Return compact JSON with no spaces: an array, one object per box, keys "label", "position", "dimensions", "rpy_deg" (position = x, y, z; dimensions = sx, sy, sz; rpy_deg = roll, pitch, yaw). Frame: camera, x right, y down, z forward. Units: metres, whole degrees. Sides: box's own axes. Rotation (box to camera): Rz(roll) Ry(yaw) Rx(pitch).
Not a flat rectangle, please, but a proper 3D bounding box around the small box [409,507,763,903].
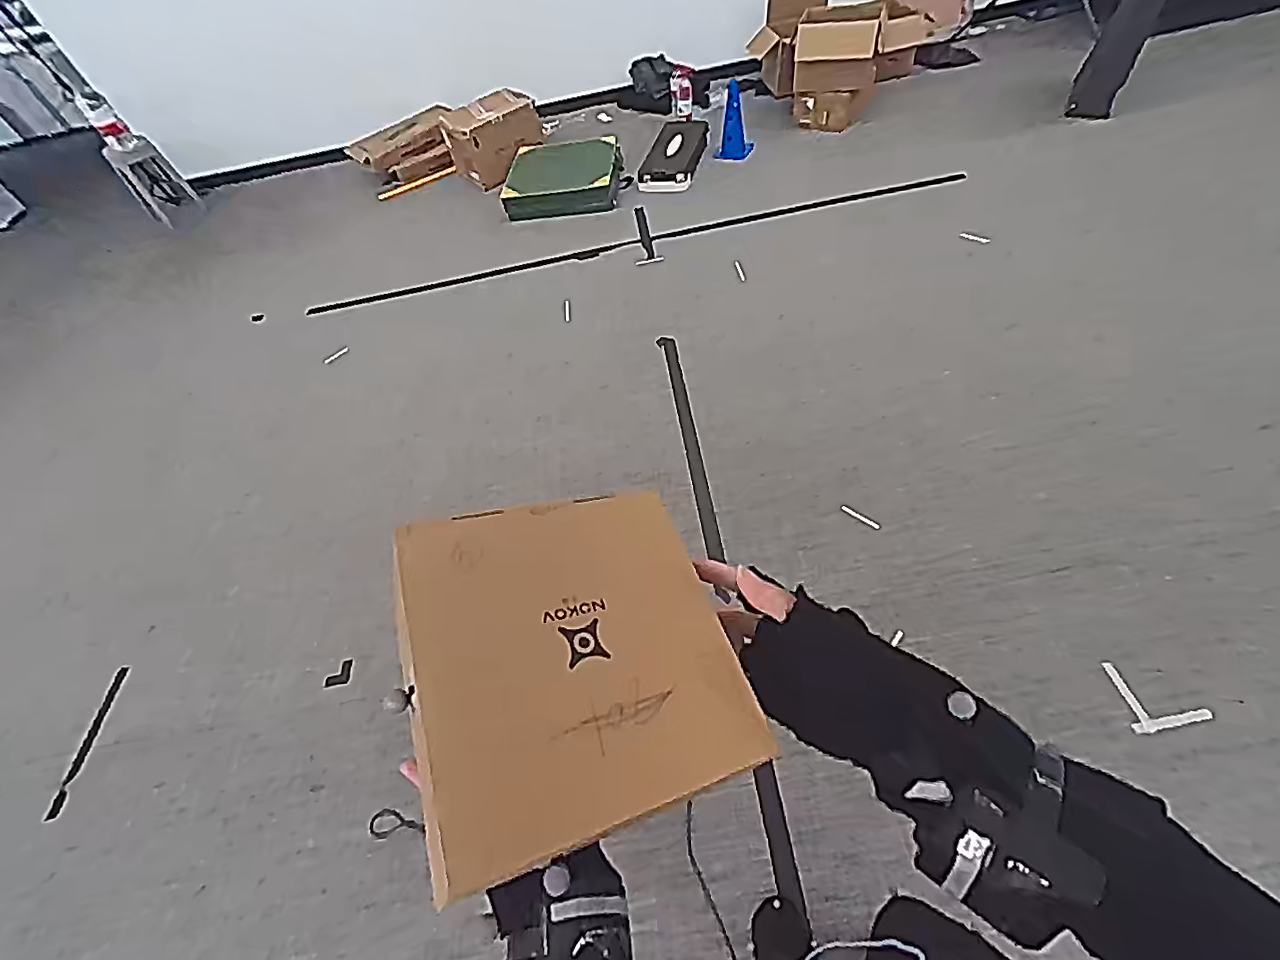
[{"label":"small box","position":[-0.058,0.144,0.360],"dimensions":[0.168,0.176,0.179],"rpy_deg":[-7,54,-27]}]
